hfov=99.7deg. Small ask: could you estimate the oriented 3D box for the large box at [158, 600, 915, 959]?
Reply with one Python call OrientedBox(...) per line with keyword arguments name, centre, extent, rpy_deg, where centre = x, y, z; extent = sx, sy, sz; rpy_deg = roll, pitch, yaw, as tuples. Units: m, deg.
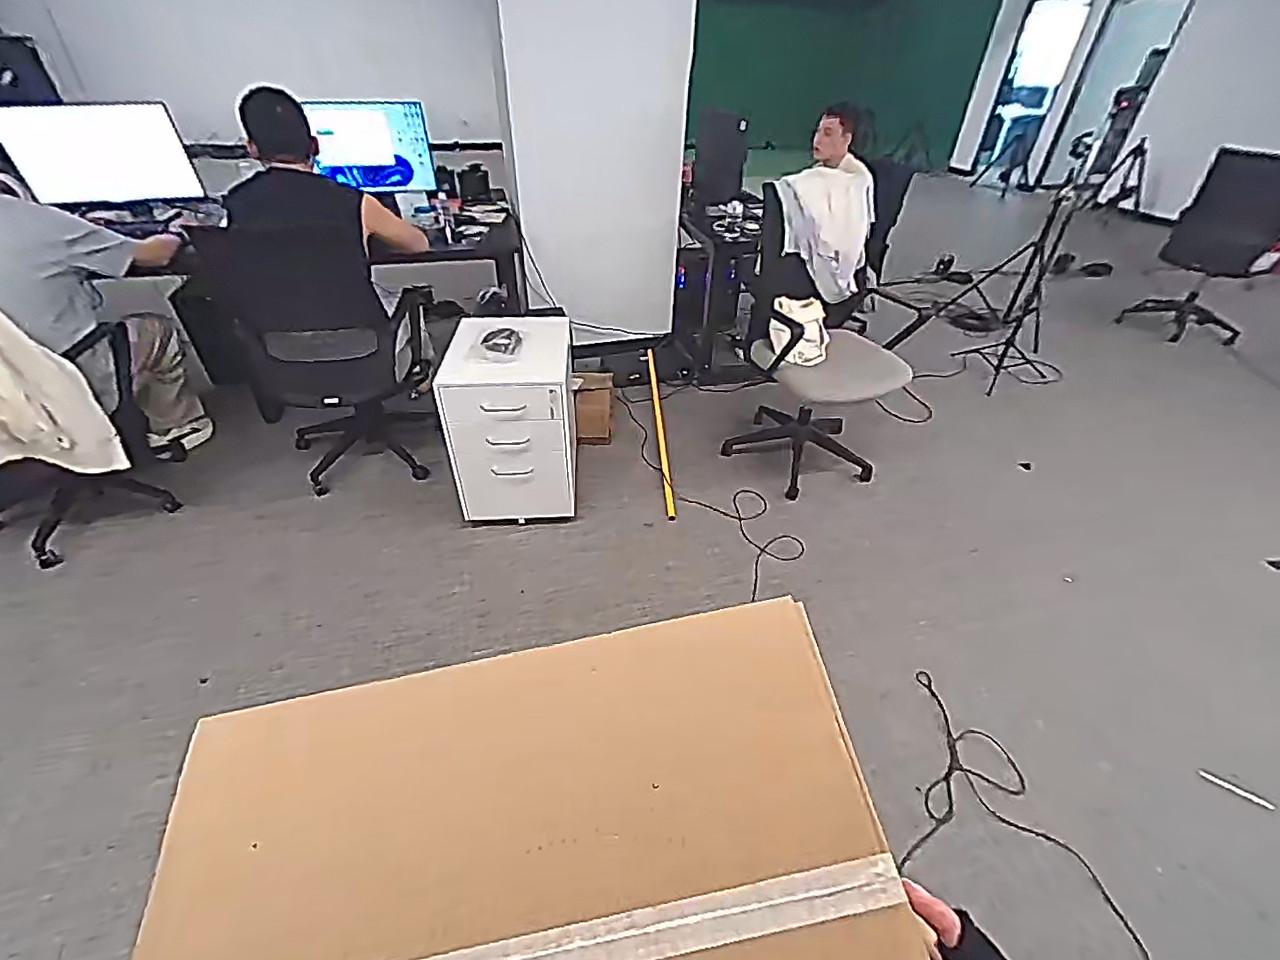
OrientedBox(name="large box", centre=(-0.049, 0.325, 0.411), extent=(0.408, 0.320, 0.320), rpy_deg=(-11, 56, -1))
